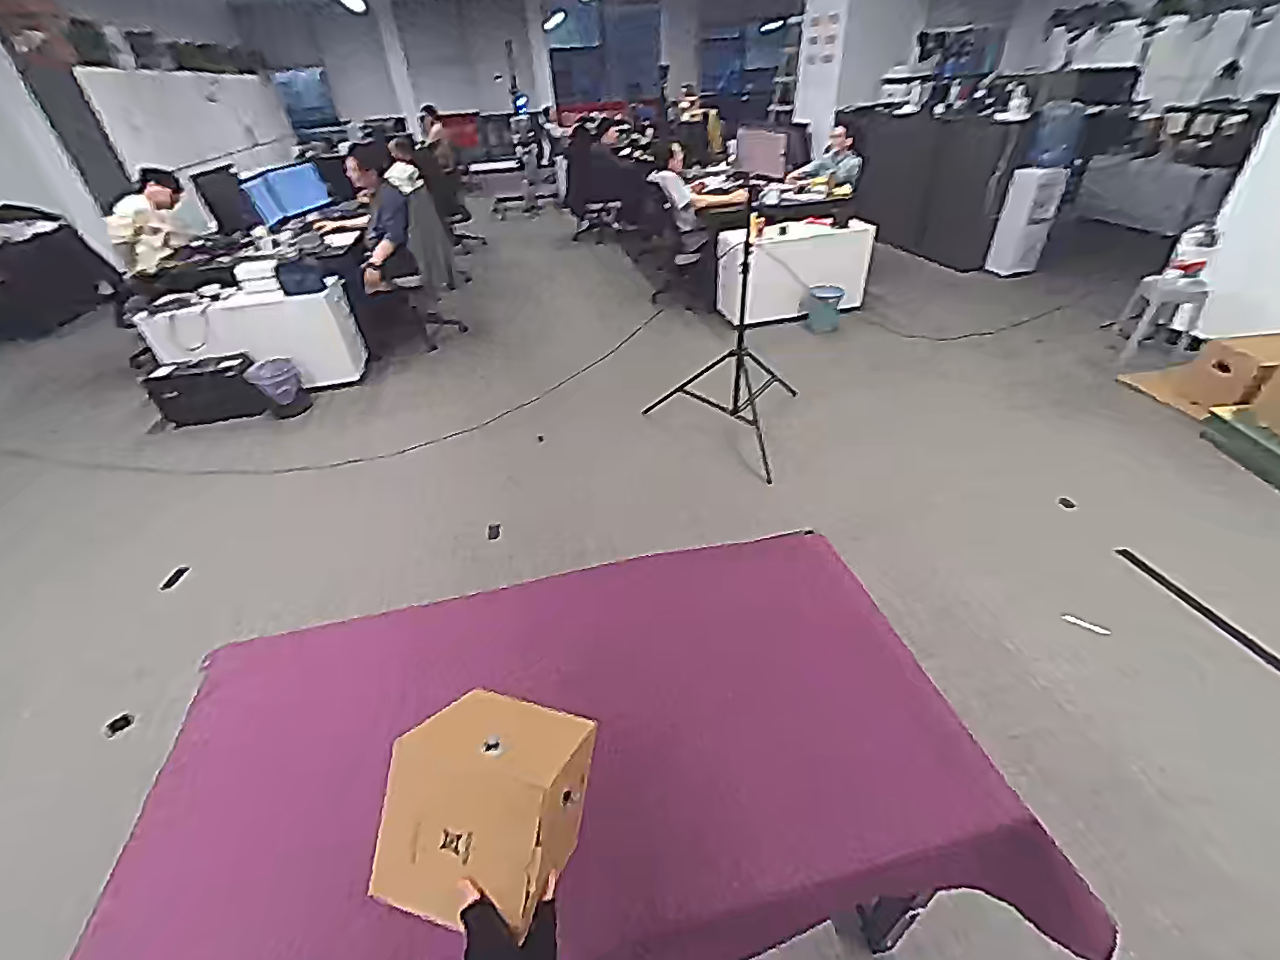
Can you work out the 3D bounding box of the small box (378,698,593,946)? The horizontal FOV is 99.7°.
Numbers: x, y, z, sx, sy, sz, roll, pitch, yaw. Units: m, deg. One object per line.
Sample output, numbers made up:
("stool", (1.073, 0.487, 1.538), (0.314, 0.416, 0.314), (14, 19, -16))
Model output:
("small box", (-0.166, 0.375, 0.632), (0.179, 0.168, 0.176), (7, -2, 14))
